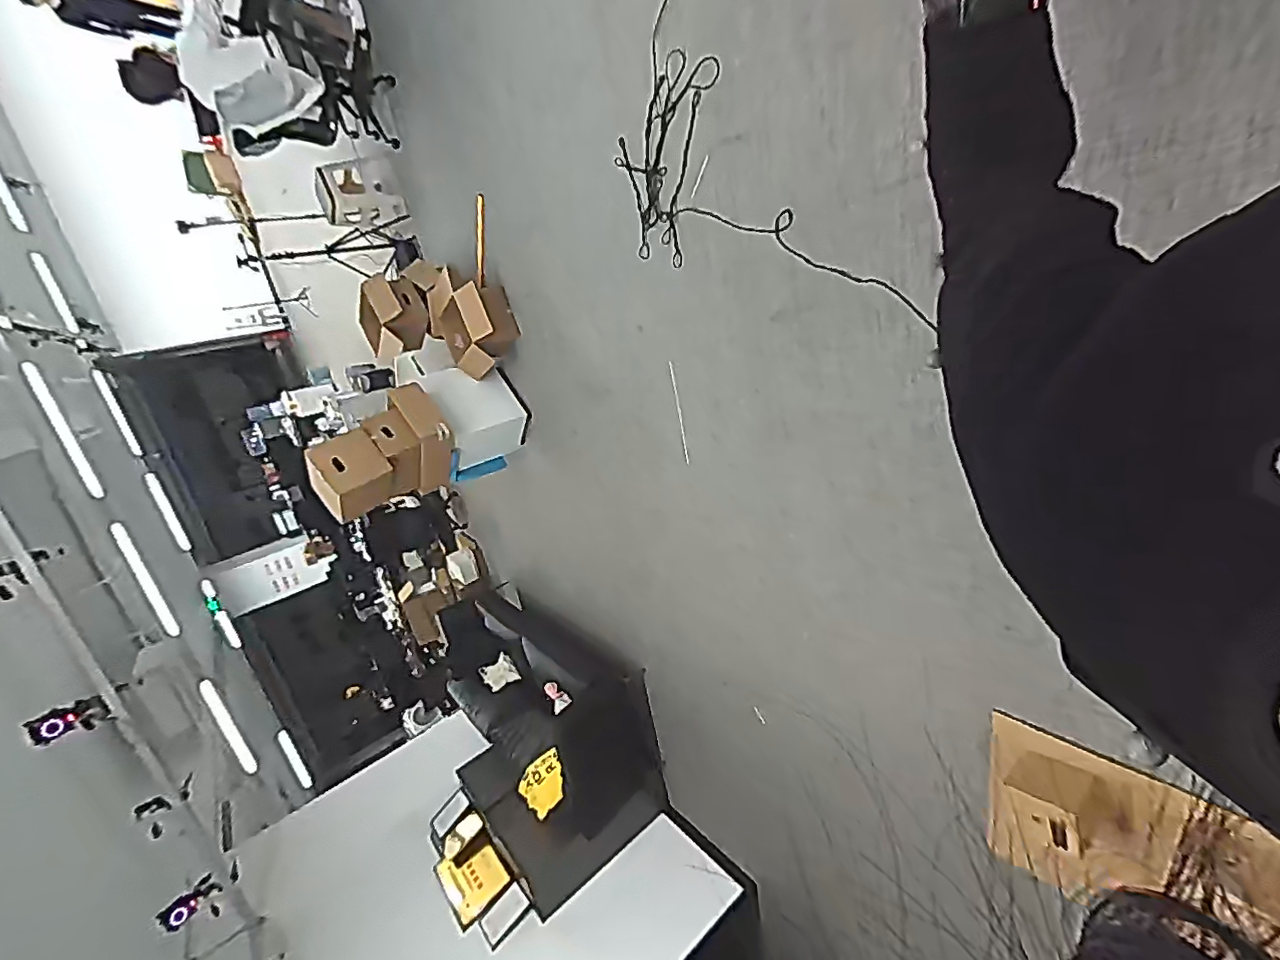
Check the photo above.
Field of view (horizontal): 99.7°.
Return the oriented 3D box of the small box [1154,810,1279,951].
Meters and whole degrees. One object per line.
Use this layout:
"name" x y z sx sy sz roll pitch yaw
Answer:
"small box" 1.379 0.946 1.293 0.168 0.176 0.179 22 127 48
